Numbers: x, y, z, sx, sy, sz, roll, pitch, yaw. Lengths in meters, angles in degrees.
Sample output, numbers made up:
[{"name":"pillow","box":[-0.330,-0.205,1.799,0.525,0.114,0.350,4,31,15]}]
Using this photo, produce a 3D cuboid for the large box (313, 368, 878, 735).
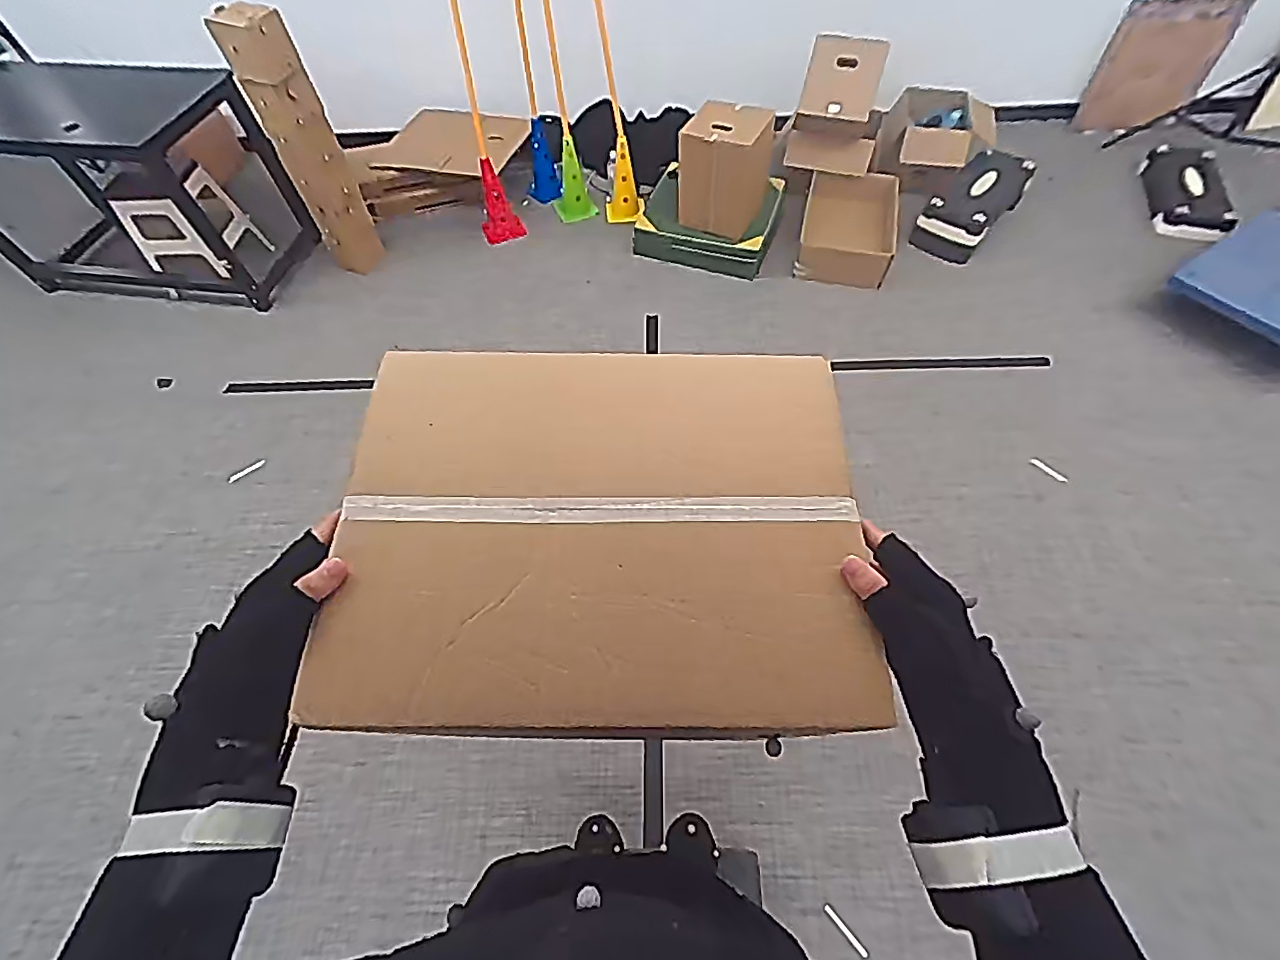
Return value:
[{"name":"large box","box":[-0.031,0.098,0.574,0.408,0.320,0.320,0,63,0]}]

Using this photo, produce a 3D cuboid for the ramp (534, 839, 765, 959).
[{"name":"ramp","box":[0.023,1.271,1.030,0.509,0.206,0.991,-2,58,0]}]
